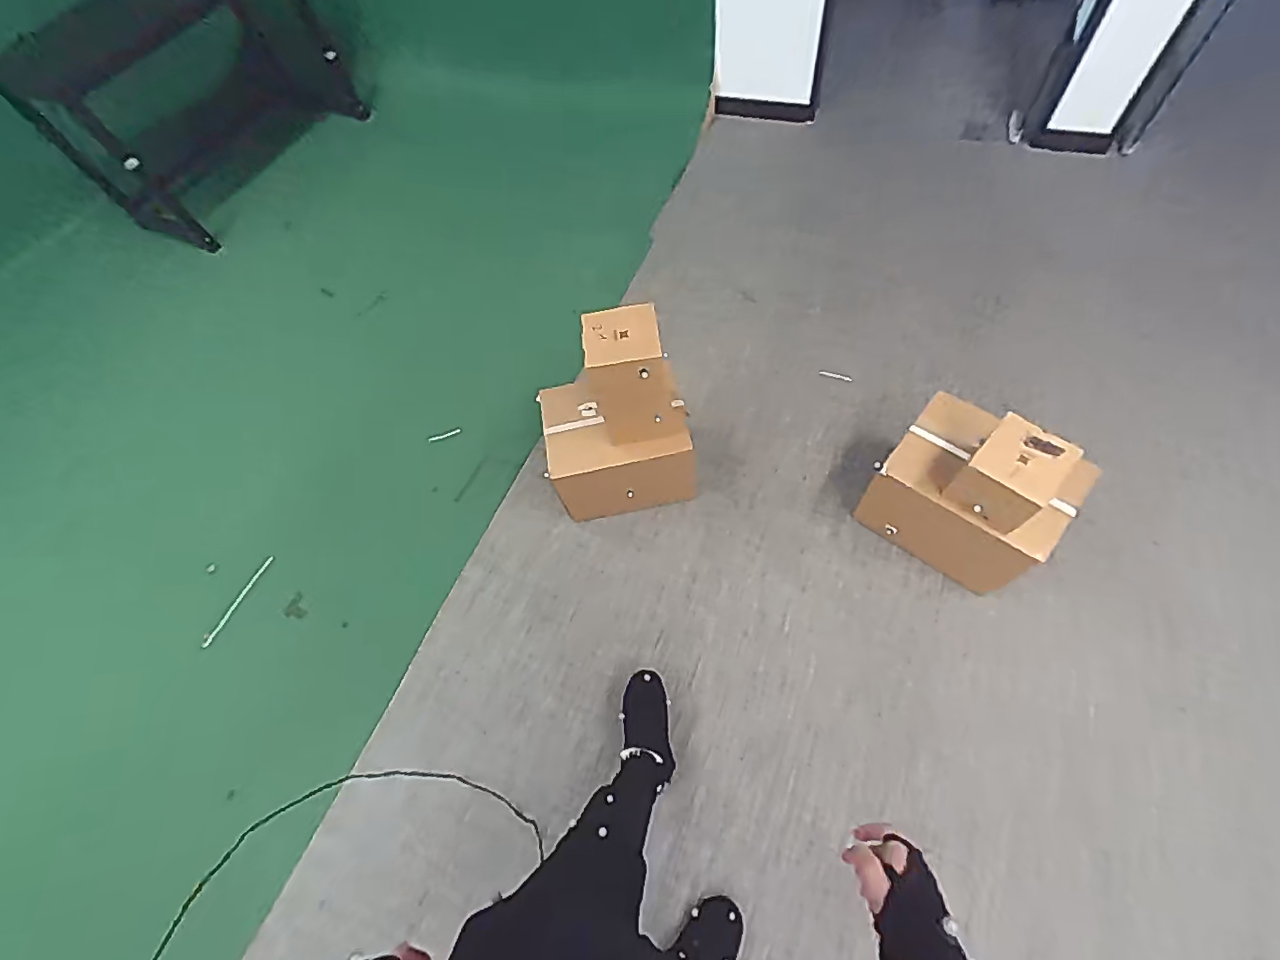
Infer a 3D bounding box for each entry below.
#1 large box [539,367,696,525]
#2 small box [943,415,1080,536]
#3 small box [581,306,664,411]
[{"bbox_3d":[-0.061,-0.092,1.662,0.408,0.320,0.320,-13,60,2],"label":"large box"},{"bbox_3d":[0.826,-0.006,1.222,0.168,0.176,0.179,38,75,23],"label":"small box"},{"bbox_3d":[-0.037,-0.285,1.293,0.179,0.176,0.168,-8,61,3],"label":"small box"}]
